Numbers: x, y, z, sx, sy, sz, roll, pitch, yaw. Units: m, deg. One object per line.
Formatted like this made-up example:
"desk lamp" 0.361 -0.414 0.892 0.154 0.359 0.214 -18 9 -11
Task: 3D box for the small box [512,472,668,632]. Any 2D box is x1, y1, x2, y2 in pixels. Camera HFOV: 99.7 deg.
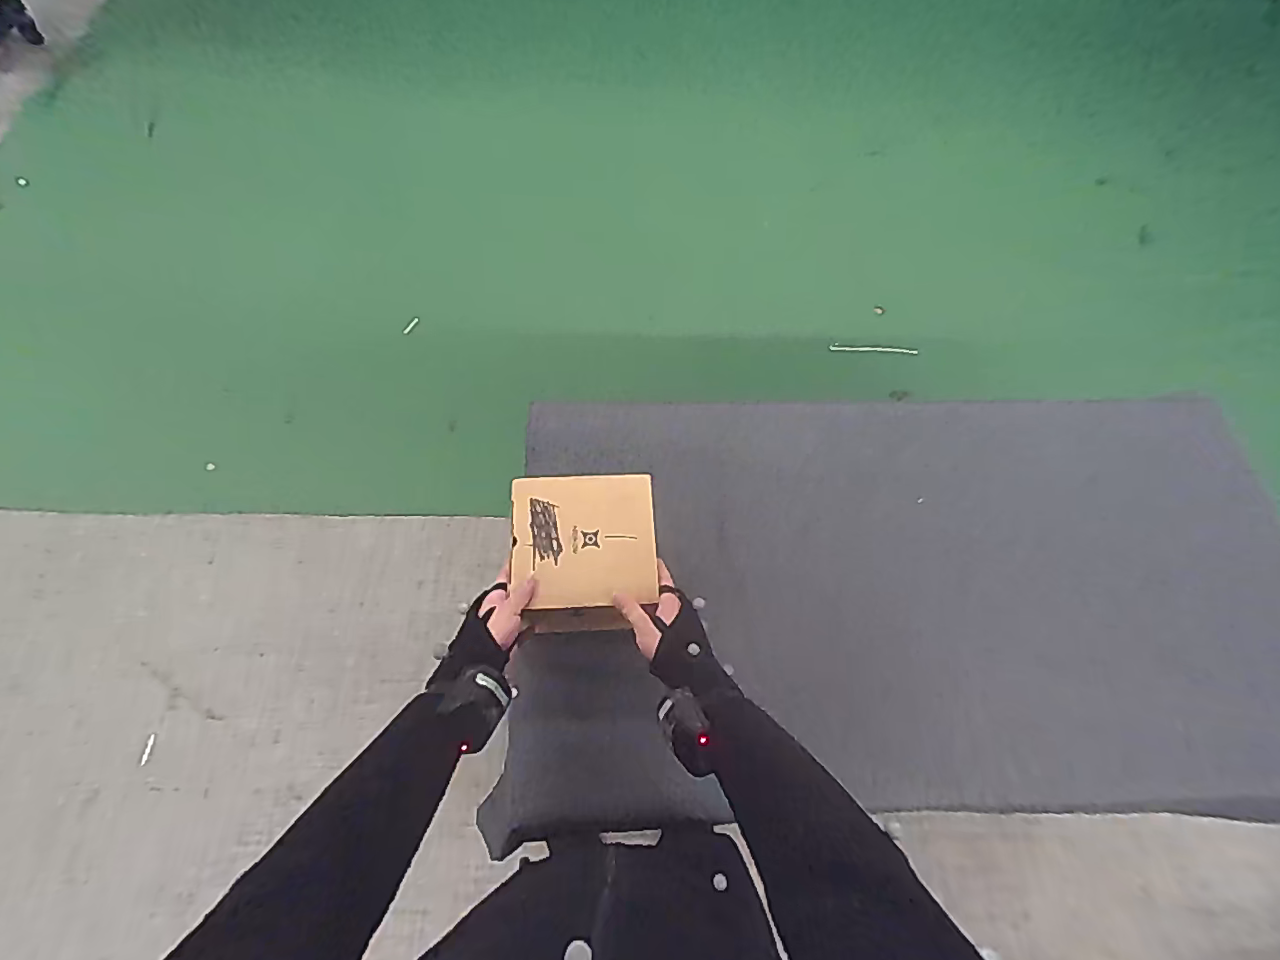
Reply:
"small box" -0.066 0.099 0.703 0.179 0.176 0.168 0 65 -8
